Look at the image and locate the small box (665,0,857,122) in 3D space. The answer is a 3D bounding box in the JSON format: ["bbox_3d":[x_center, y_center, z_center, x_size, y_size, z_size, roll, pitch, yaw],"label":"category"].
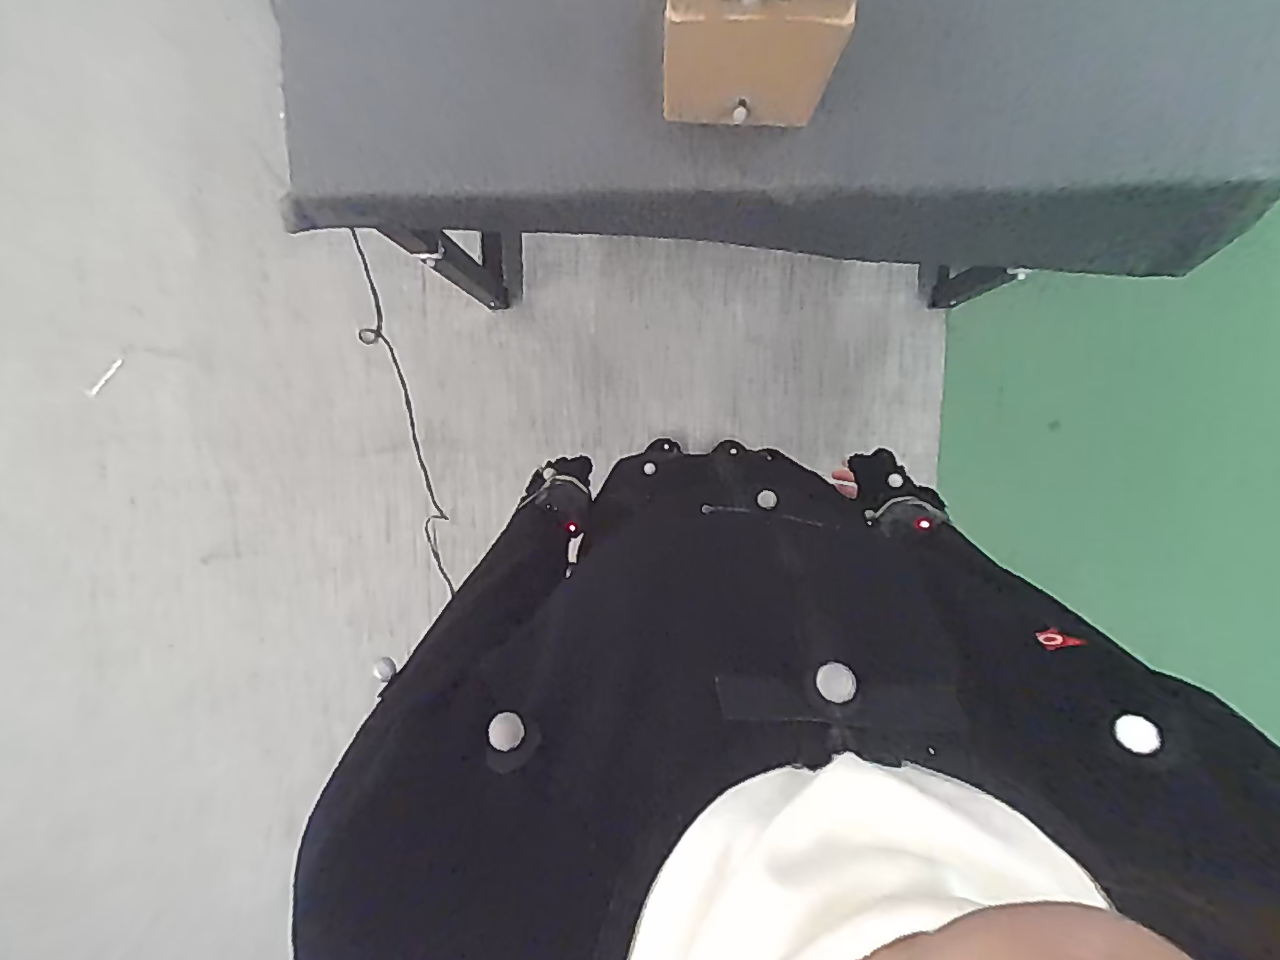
[{"bbox_3d":[0.120,-0.515,0.577,0.179,0.176,0.168,3,94,2],"label":"small box"}]

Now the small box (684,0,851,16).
[{"bbox_3d":[0.112,-0.512,0.415,0.168,0.176,0.179,2,96,4],"label":"small box"}]
